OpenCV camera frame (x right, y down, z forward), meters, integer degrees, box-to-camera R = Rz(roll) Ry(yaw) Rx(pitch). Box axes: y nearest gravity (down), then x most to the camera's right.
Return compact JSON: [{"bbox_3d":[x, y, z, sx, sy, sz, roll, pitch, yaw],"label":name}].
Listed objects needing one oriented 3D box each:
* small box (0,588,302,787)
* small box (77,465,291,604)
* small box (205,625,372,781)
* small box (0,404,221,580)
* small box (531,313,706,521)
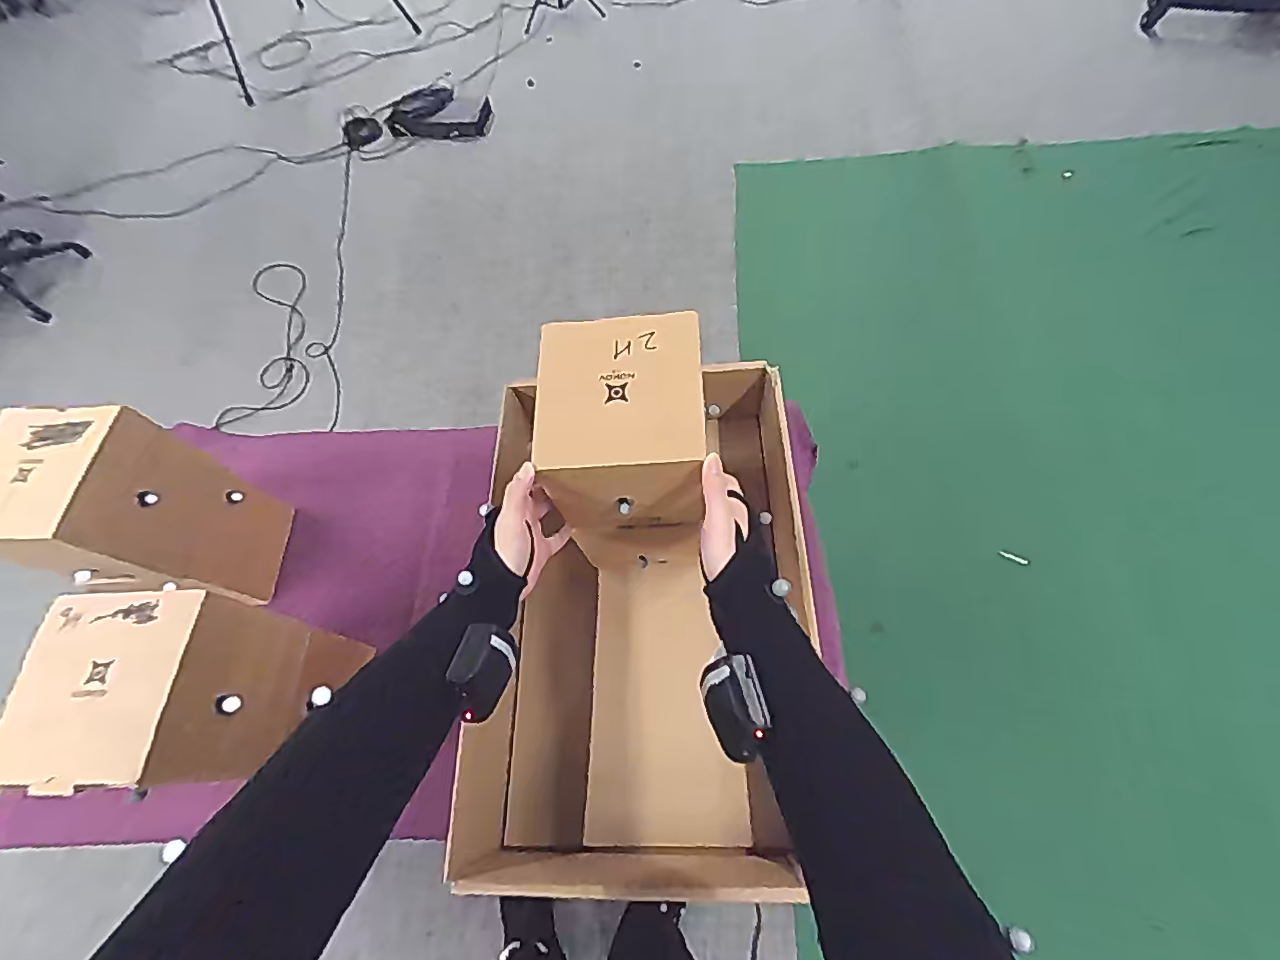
[{"bbox_3d":[-0.505,0.222,0.579,0.168,0.176,0.179,-2,63,4],"label":"small box"},{"bbox_3d":[-0.690,0.095,0.846,0.168,0.176,0.179,-4,63,4],"label":"small box"},{"bbox_3d":[-0.490,0.300,0.723,0.168,0.176,0.179,-2,62,4],"label":"small box"},{"bbox_3d":[-0.699,0.020,0.700,0.168,0.176,0.179,0,64,6],"label":"small box"},{"bbox_3d":[-0.012,-0.058,0.603,0.168,0.176,0.179,-2,65,6],"label":"small box"}]
